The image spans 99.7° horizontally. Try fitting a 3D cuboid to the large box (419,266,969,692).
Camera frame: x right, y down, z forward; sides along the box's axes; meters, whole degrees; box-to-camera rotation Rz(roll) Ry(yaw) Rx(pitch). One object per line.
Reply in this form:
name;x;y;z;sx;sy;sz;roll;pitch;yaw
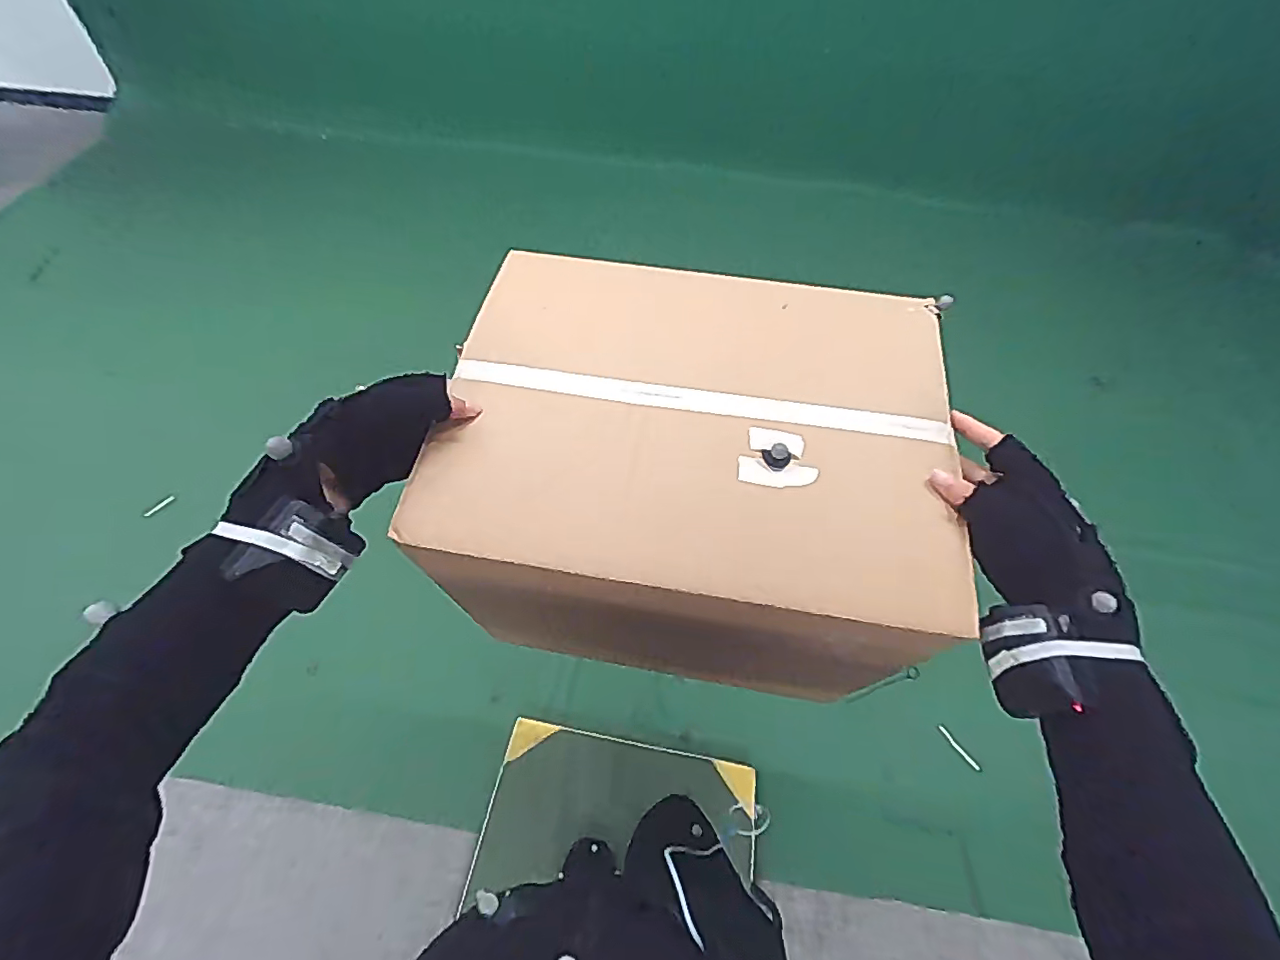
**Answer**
large box;0.051;0.015;0.584;0.408;0.320;0.320;9;61;4
